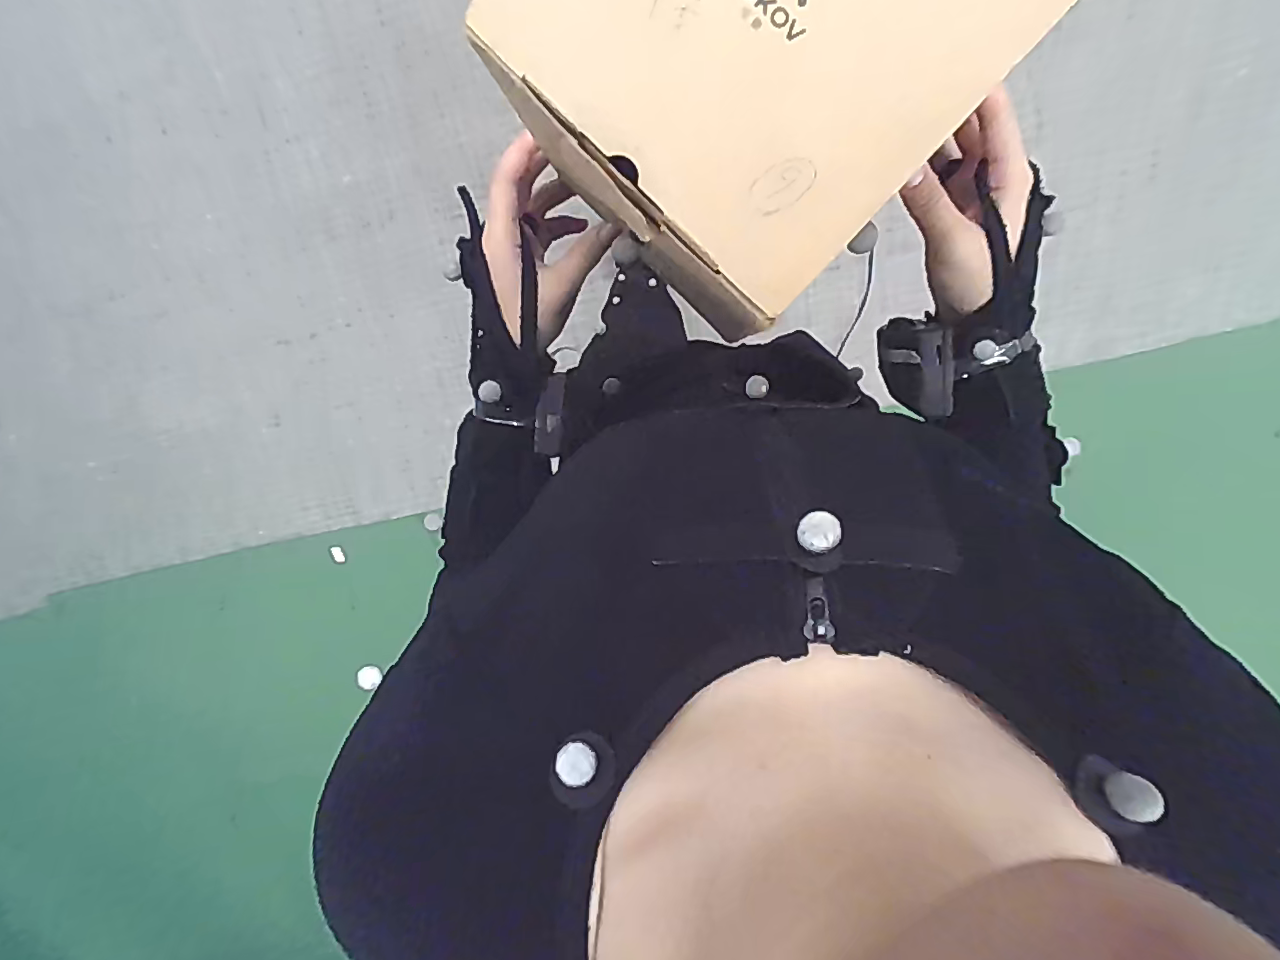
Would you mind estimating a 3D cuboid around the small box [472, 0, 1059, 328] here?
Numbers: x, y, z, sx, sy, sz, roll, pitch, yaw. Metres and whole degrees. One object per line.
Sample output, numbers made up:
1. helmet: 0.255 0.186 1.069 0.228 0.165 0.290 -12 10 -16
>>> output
1. small box: 0.055 -0.198 0.282 0.168 0.176 0.179 43 102 -5
